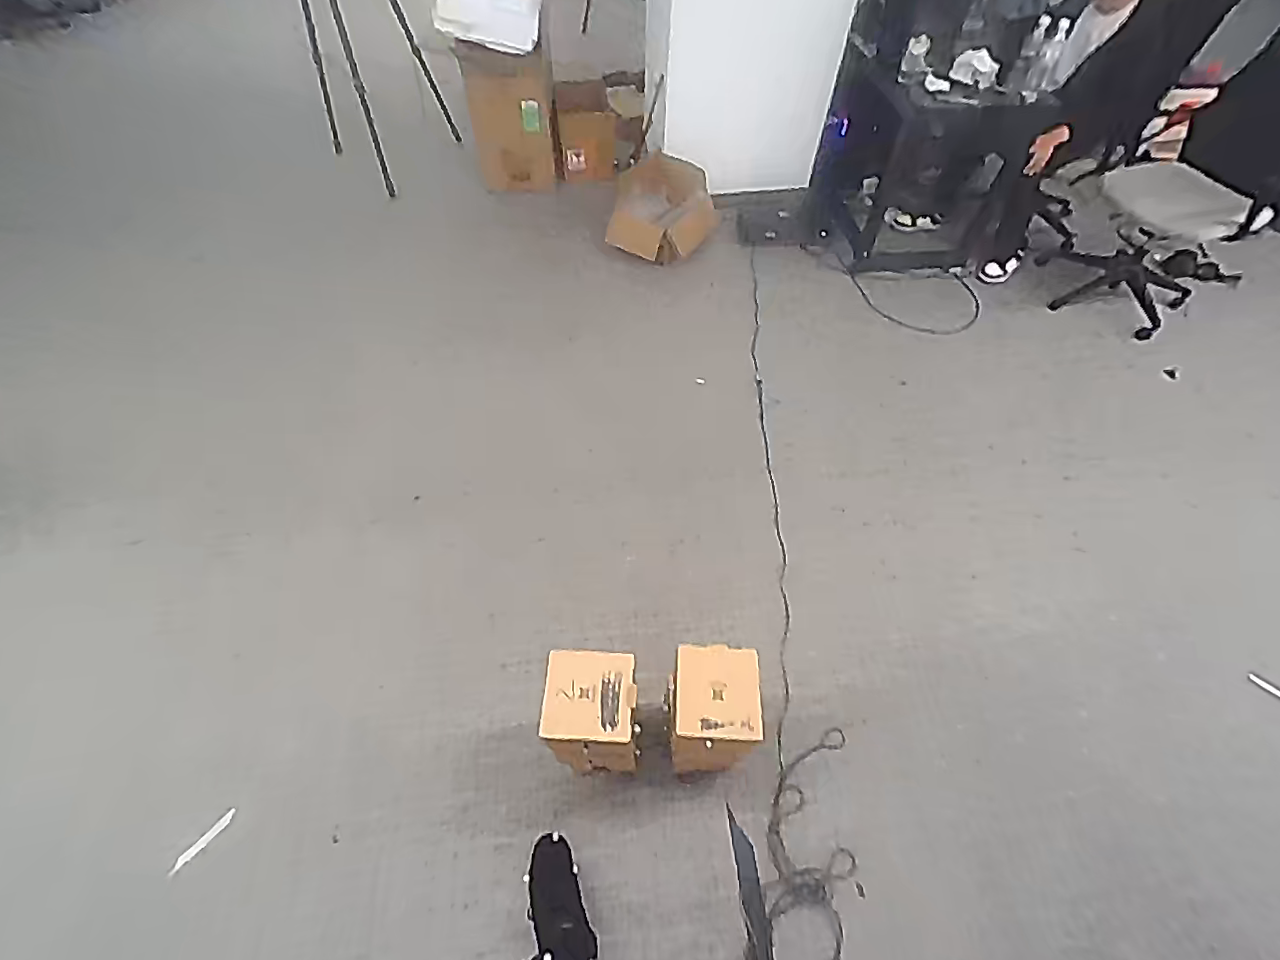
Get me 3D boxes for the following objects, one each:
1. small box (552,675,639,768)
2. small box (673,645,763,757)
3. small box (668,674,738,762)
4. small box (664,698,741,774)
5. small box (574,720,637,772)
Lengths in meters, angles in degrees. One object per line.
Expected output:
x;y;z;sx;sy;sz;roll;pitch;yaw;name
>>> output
-0.096;0.562;1.251;0.179;0.176;0.168;3;55;2;small box
0.156;0.463;1.129;0.168;0.176;0.179;3;54;2;small box
0.157;0.555;1.265;0.179;0.176;0.168;-3;55;-2;small box
0.155;0.647;1.398;0.168;0.176;0.179;-4;56;-3;small box
-0.092;0.643;1.394;0.168;0.176;0.179;0;55;0;small box
